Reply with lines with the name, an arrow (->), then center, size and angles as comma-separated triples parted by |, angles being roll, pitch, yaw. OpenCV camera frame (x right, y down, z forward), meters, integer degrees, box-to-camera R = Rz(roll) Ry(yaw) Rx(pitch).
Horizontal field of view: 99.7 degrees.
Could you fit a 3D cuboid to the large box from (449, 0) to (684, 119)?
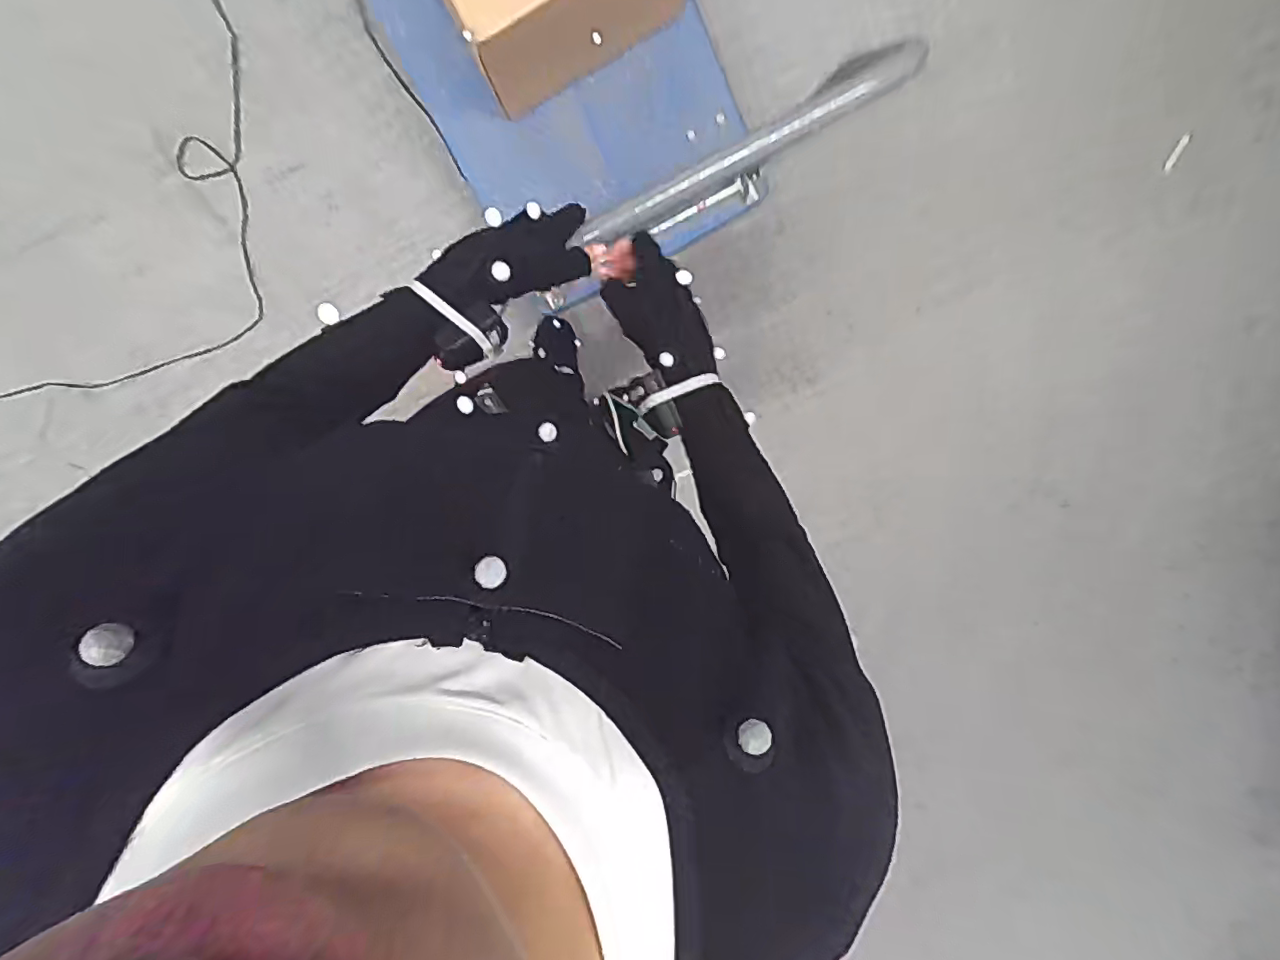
large box -> -0.151, -0.925, 0.923 | 0.408, 0.320, 0.320 | -28, 103, 5
